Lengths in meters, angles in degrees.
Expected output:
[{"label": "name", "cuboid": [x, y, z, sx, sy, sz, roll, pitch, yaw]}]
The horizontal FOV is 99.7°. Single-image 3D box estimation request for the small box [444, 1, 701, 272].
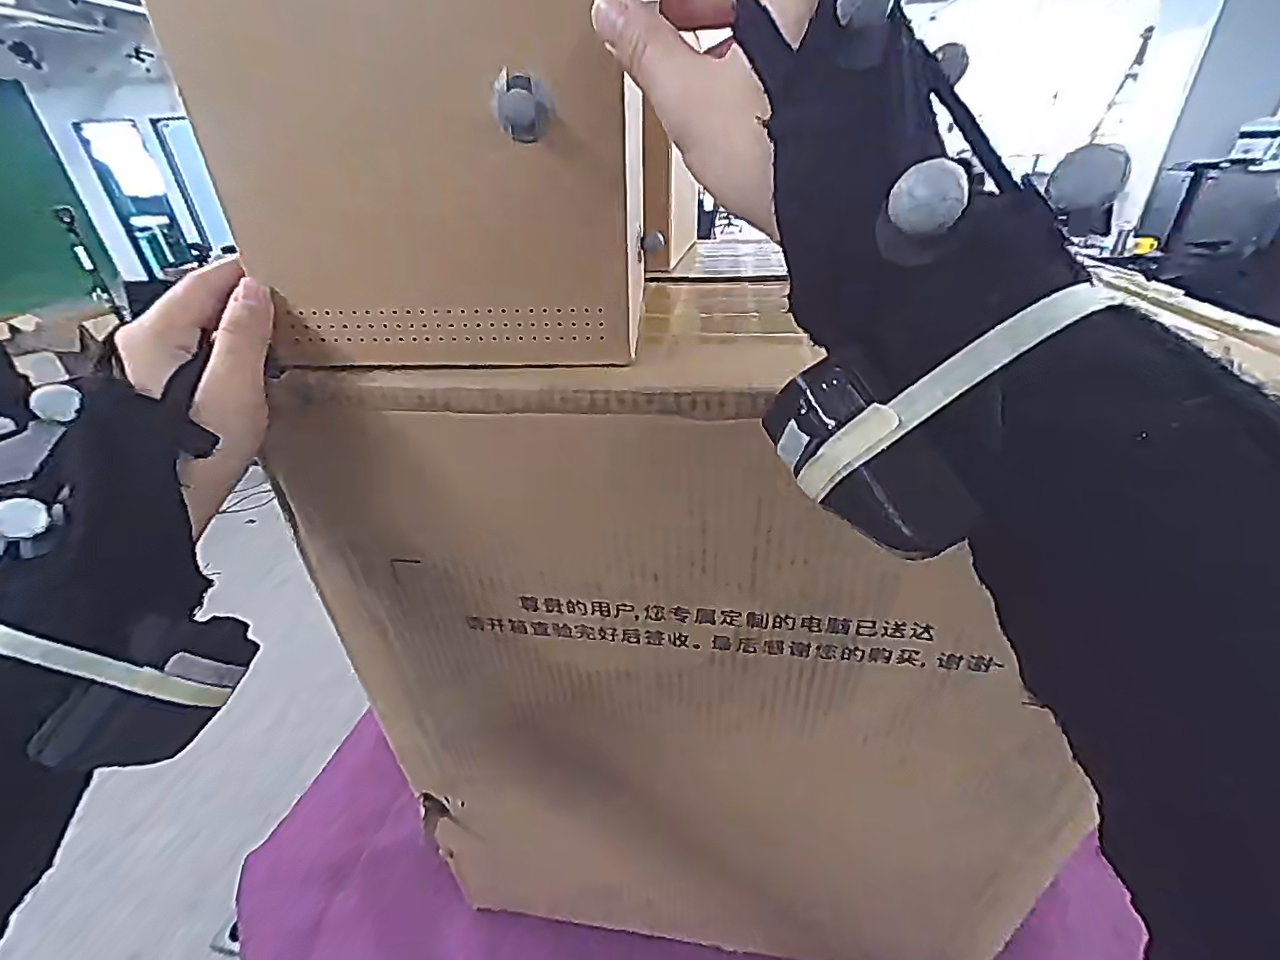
[{"label": "small box", "cuboid": [-0.039, -0.284, 0.473, 0.168, 0.176, 0.179, 5, 32, 11]}]
